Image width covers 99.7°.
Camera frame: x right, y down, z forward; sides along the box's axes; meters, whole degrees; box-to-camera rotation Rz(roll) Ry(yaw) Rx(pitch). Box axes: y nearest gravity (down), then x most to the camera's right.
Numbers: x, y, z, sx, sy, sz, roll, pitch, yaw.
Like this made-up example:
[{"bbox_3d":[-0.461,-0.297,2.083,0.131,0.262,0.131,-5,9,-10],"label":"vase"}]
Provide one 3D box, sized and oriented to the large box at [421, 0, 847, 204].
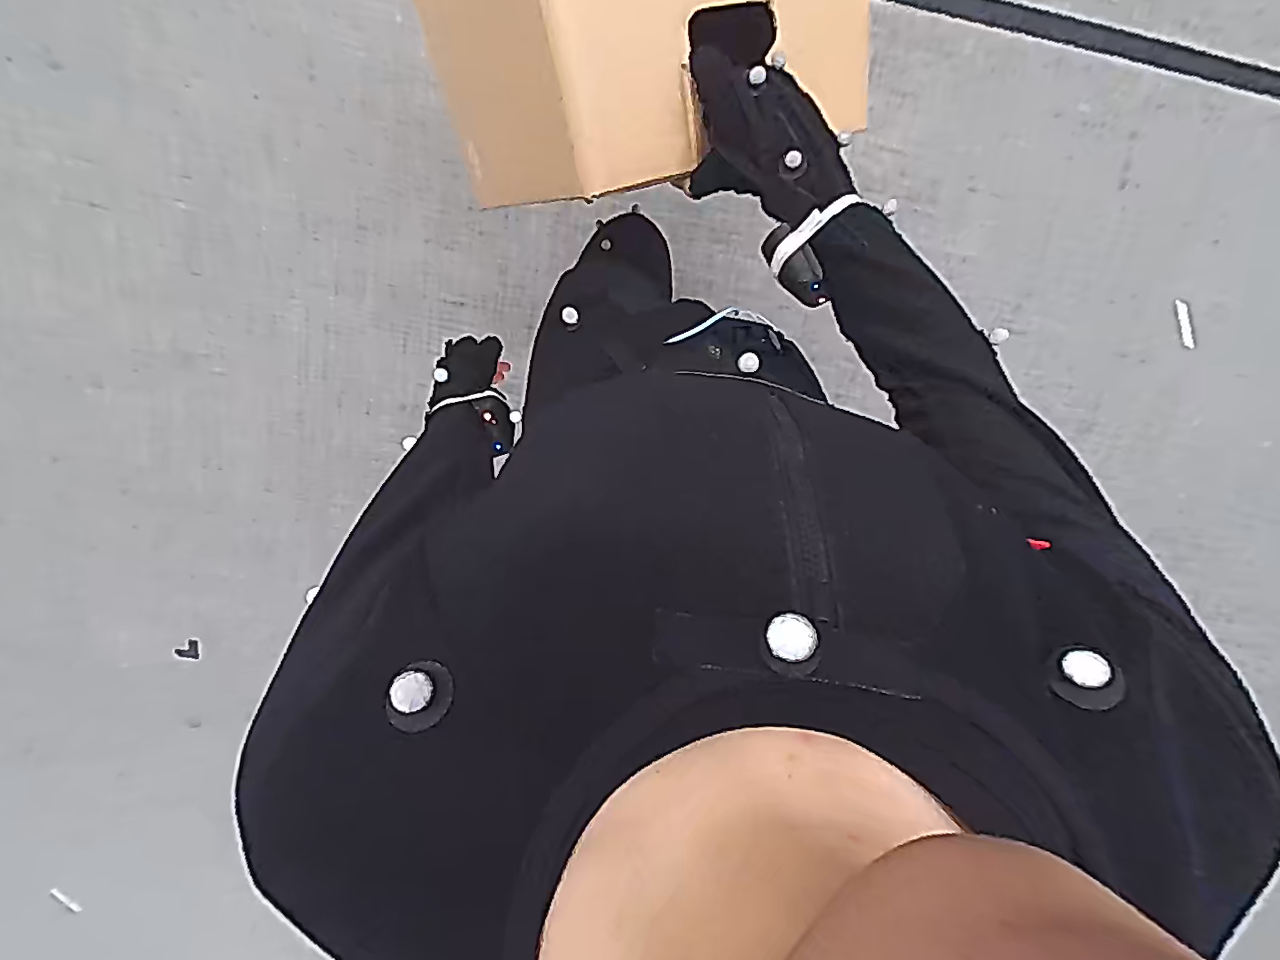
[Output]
[{"bbox_3d":[-0.035,-0.503,0.587,0.320,0.408,0.320,-23,123,-19],"label":"large box"}]
